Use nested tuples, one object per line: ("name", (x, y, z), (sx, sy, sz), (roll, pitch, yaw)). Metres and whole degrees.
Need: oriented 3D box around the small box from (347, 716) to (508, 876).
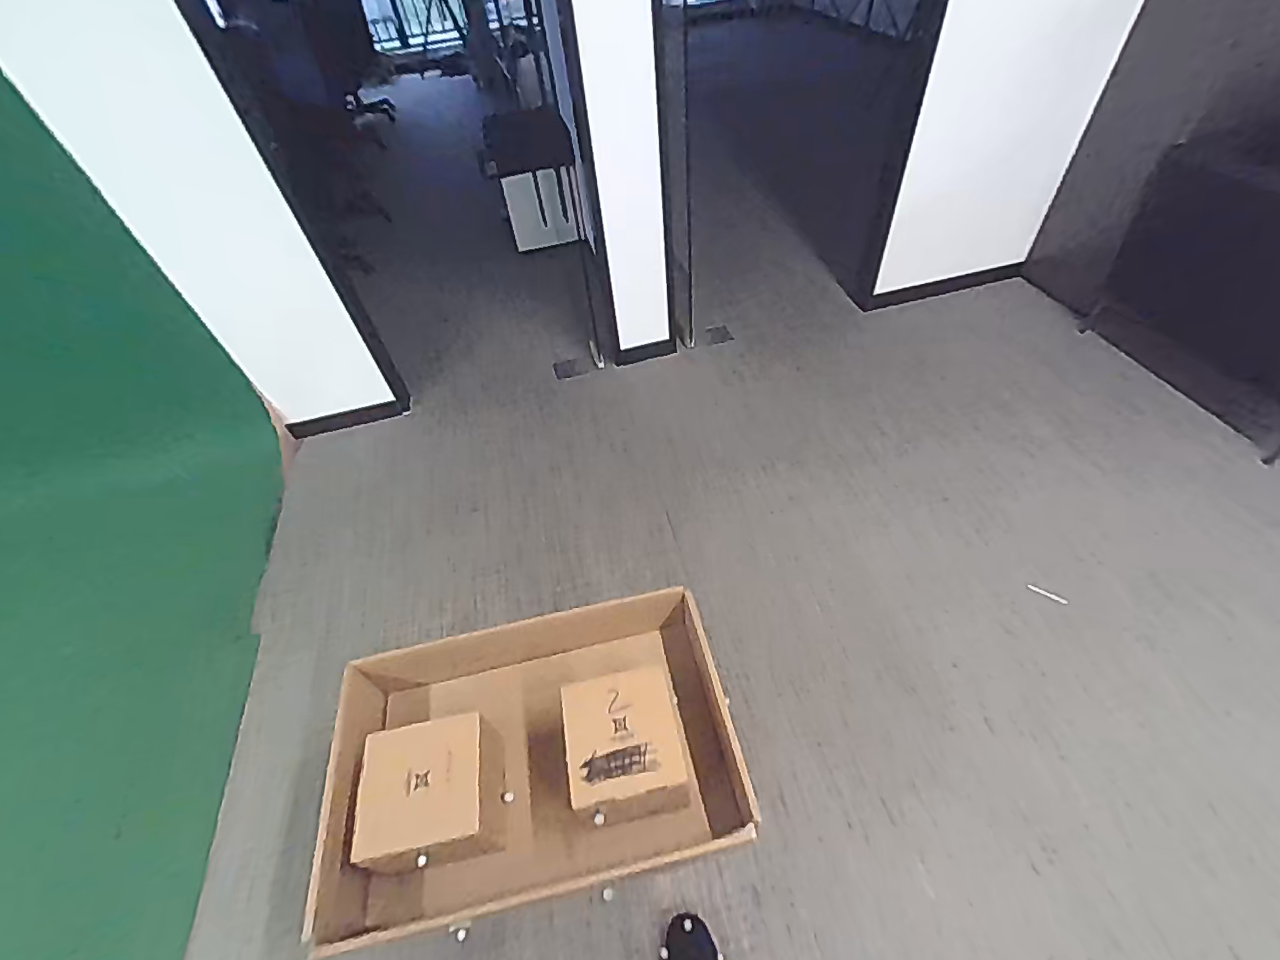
("small box", (-0.312, 0.490, 0.833), (0.179, 0.176, 0.168), (-10, 49, -4))
